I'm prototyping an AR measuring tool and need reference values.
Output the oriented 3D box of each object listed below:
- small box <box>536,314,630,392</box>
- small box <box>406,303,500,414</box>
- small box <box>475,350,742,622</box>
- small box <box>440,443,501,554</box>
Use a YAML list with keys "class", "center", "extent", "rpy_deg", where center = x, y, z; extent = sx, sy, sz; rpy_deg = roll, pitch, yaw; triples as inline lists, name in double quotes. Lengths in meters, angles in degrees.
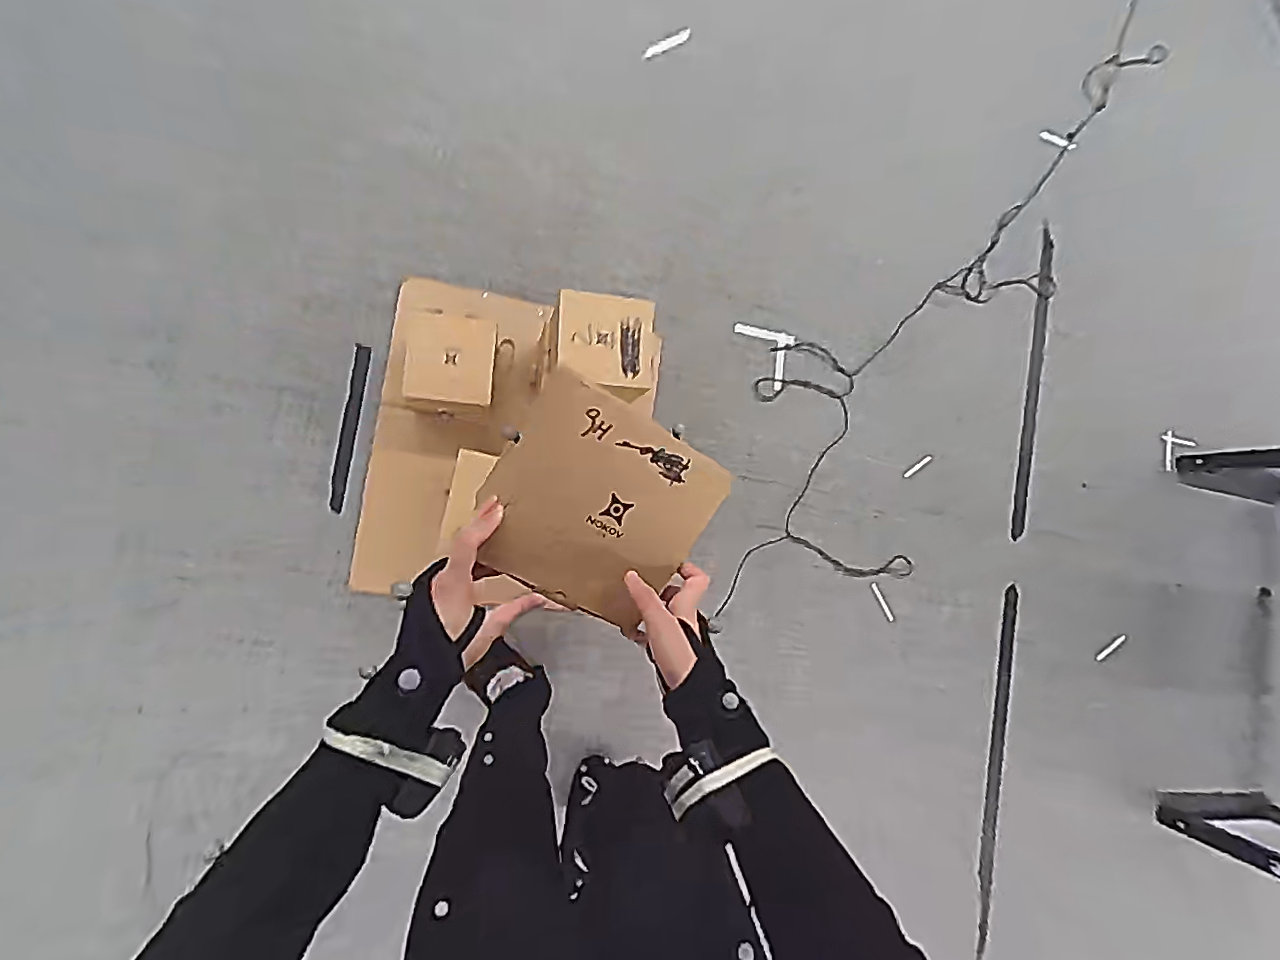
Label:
- class: "small box"
  center: [-0.131, -0.248, 1.195]
  extent: [0.179, 0.176, 0.168]
  rpy_deg: [4, 86, -15]
- class: "small box"
  center: [-0.381, -0.244, 1.126]
  extent: [0.168, 0.176, 0.179]
  rpy_deg: [3, 86, -13]
- class: "small box"
  center: [-0.039, -0.004, 0.521]
  extent: [0.168, 0.176, 0.179]
  rpy_deg: [29, 100, -22]
- class: "small box"
  center: [-0.252, 0.044, 0.976]
  extent: [0.168, 0.176, 0.179]
  rpy_deg: [13, 85, -14]
